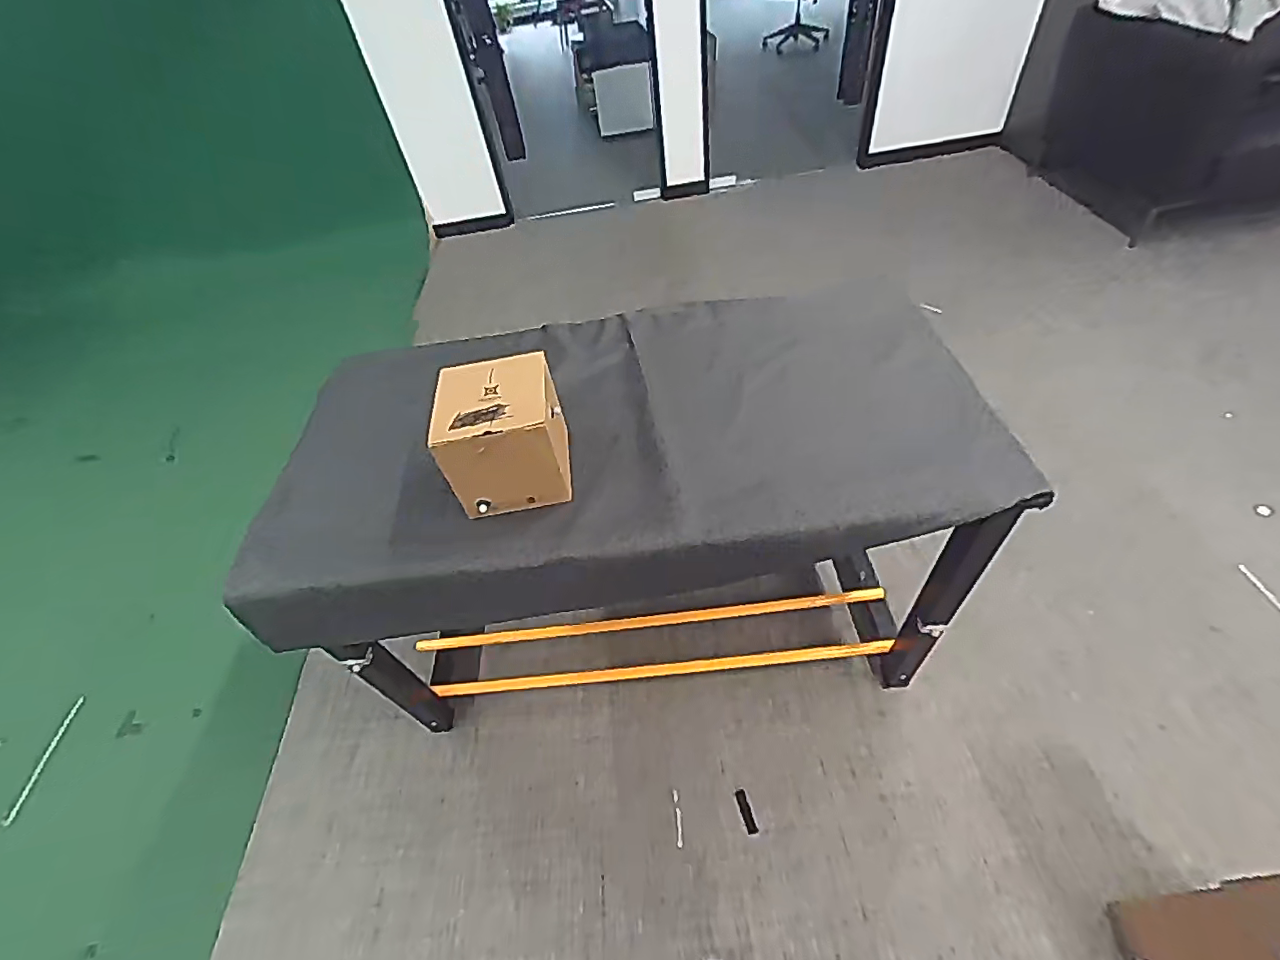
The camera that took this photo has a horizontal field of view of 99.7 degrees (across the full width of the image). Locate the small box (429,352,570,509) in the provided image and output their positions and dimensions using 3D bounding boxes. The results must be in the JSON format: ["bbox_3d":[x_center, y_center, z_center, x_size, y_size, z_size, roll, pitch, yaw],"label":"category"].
[{"bbox_3d":[-0.207,-0.070,0.845,0.168,0.176,0.179,-10,47,0],"label":"small box"}]

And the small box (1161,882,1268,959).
[{"bbox_3d":[0.919,0.678,0.763,0.168,0.176,0.179,-7,48,2],"label":"small box"}]

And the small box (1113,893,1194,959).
[{"bbox_3d":[0.943,0.785,0.883,0.168,0.176,0.179,-6,50,4],"label":"small box"}]

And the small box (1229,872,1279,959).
[{"bbox_3d":[0.899,0.565,0.644,0.179,0.176,0.168,-6,49,3],"label":"small box"}]
